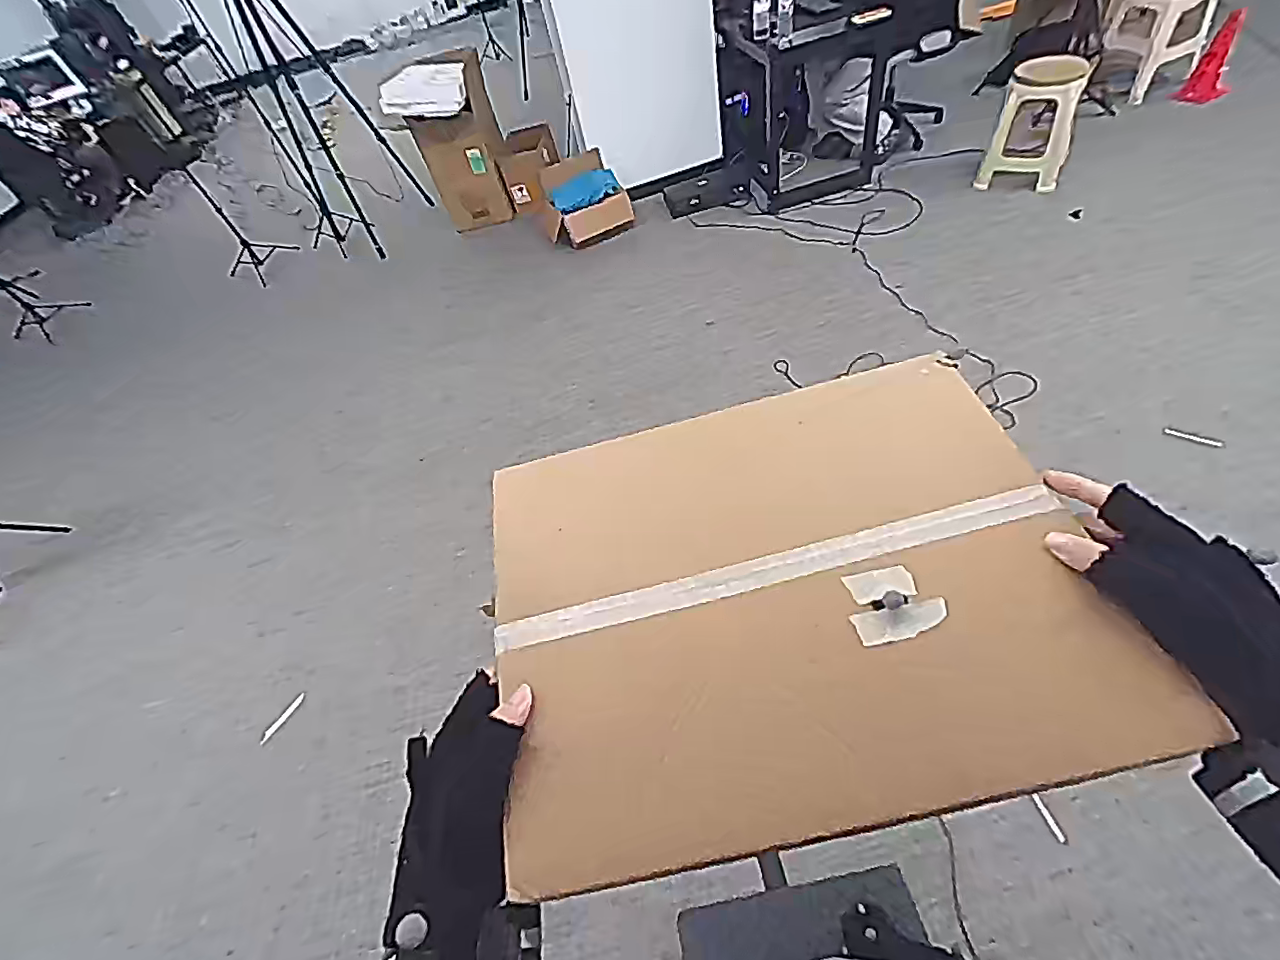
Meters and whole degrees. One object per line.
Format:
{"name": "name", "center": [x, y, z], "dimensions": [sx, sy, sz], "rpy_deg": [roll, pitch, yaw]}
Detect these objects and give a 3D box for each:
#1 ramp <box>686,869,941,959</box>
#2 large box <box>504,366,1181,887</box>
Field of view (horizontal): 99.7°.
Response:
{"name": "ramp", "center": [0.391, 1.204, 0.786], "dimensions": [0.509, 0.206, 0.991], "rpy_deg": [-17, 48, 3]}
{"name": "large box", "center": [0.120, 0.153, 0.523], "dimensions": [0.408, 0.320, 0.320], "rpy_deg": [-15, 55, 2]}
